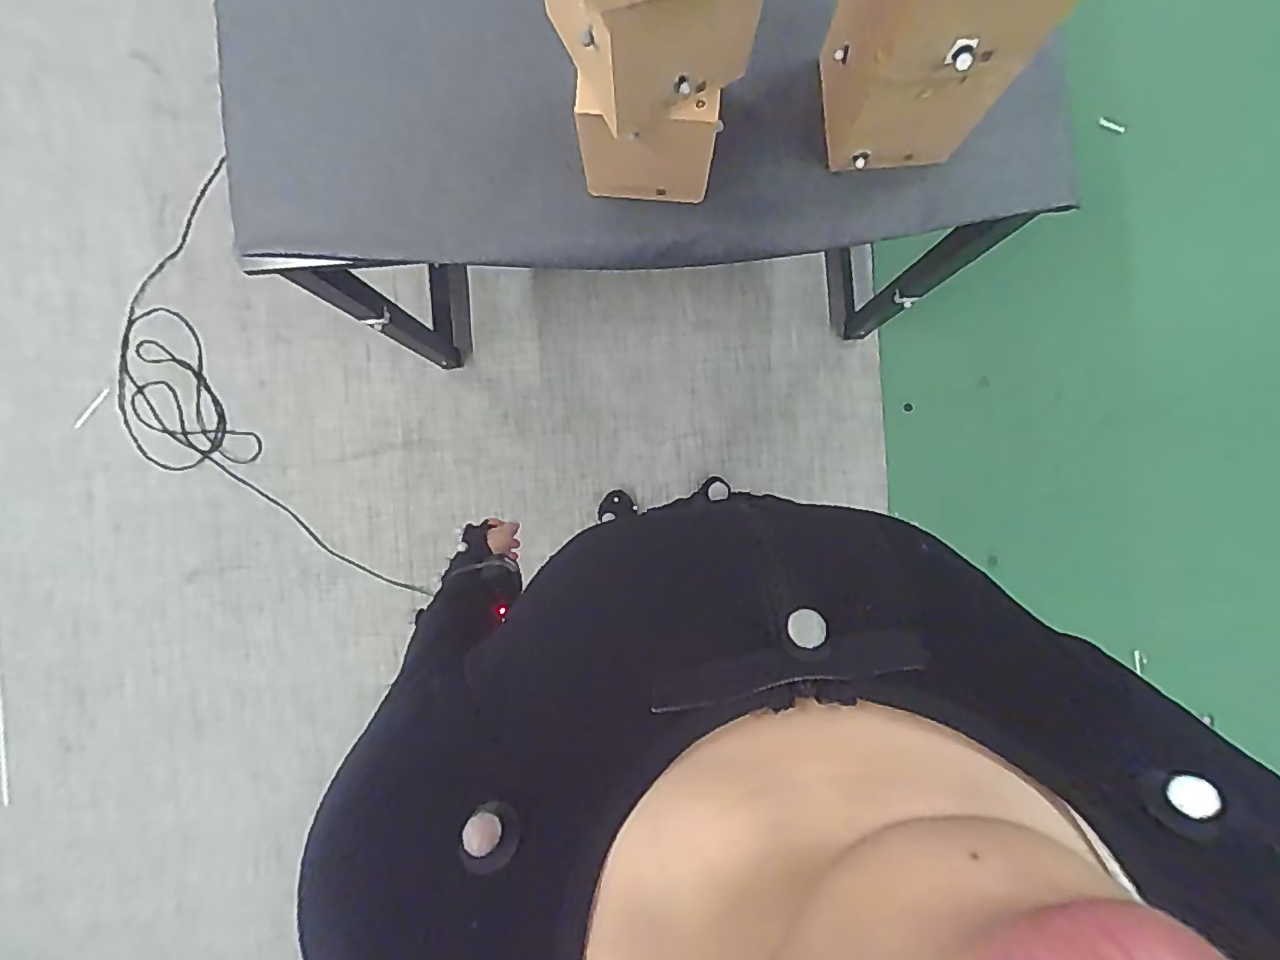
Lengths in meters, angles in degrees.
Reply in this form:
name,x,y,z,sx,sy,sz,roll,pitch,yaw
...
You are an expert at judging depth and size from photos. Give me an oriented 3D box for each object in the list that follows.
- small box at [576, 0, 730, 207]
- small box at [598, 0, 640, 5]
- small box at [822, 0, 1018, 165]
name,x,y,z,sx,sy,sz,roll,pitch,yaw
small box,0.016,-0.487,0.694,0.168,0.176,0.179,5,87,1
small box,0.010,-0.479,0.366,0.168,0.176,0.179,-16,88,0
small box,0.342,-0.530,0.688,0.168,0.176,0.179,-4,86,1
